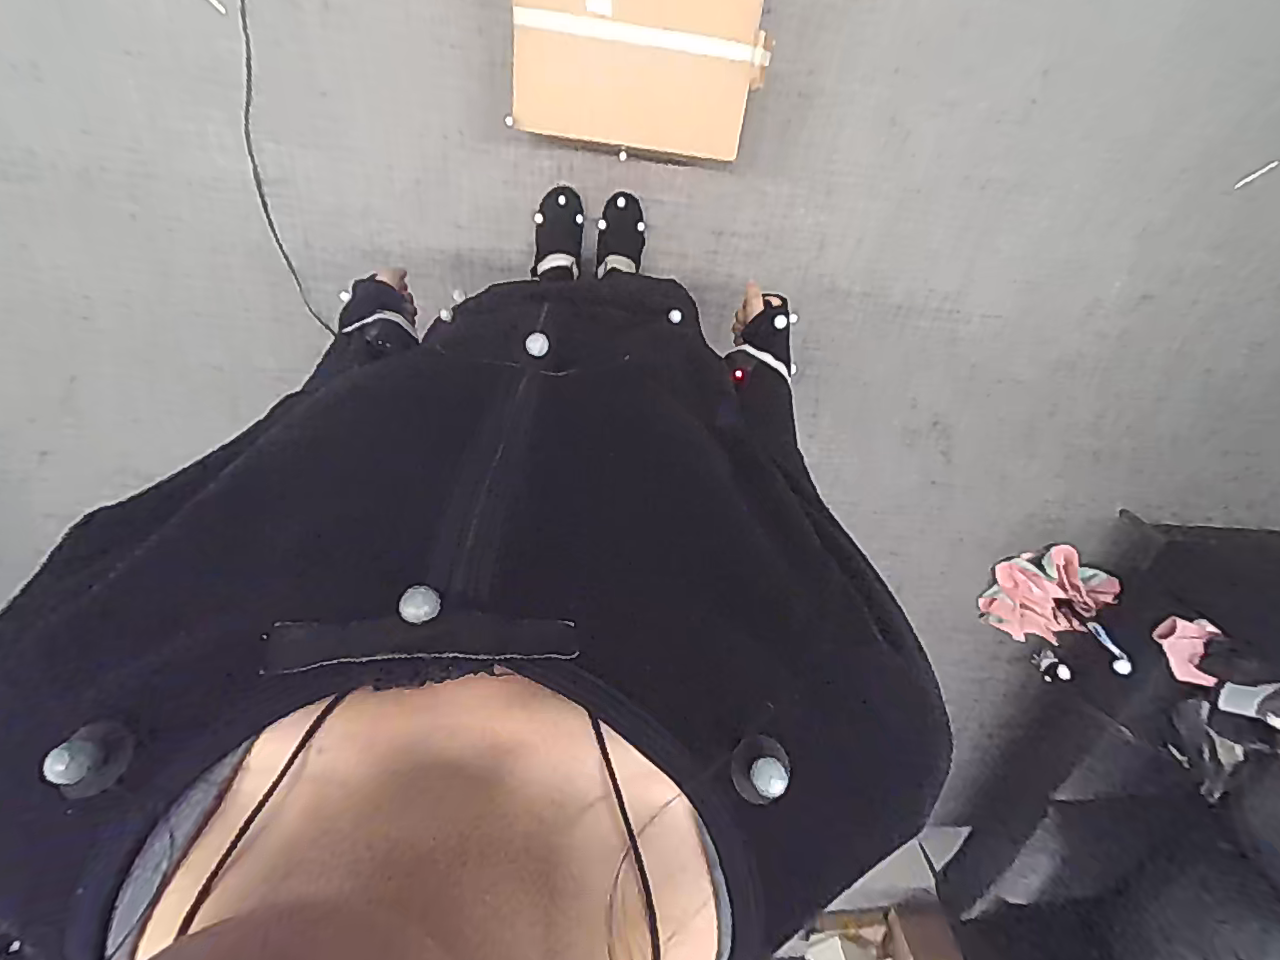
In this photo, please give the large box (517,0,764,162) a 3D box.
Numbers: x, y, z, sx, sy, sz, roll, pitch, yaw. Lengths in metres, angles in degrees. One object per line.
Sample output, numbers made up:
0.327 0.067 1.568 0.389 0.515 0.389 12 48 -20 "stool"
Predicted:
-0.008 -0.810 1.029 0.408 0.320 0.320 5 119 -6 "large box"
